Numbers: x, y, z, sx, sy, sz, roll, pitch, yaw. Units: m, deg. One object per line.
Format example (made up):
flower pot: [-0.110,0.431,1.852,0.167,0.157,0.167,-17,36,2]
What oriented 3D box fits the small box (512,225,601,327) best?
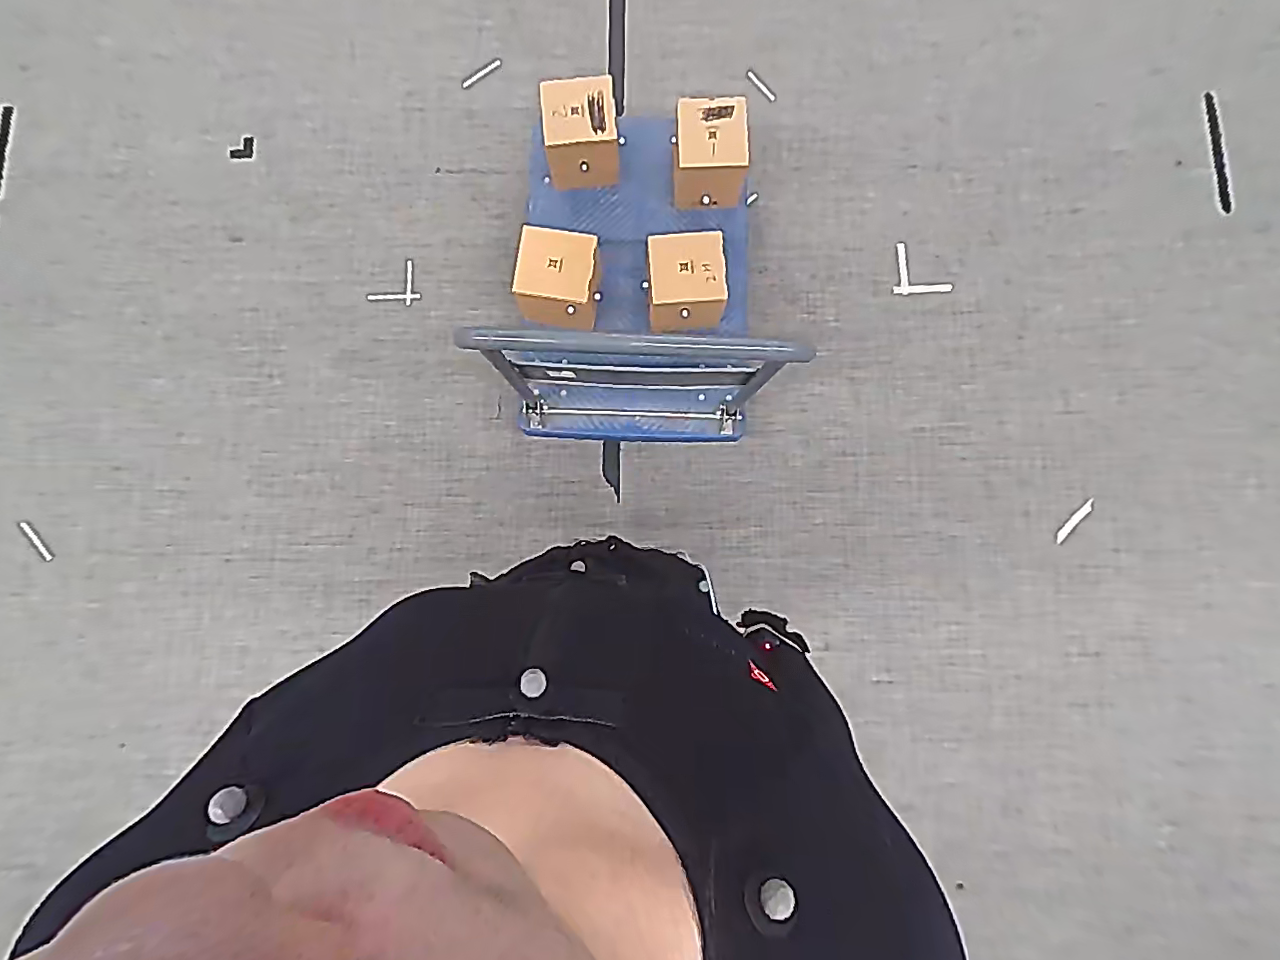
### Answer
small box: [-0.196,-0.486,1.311,0.179,0.176,0.168,8,84,-1]

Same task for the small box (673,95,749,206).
small box: [0.170,-0.812,1.343,0.168,0.176,0.179,-1,85,0]

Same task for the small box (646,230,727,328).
small box: [0.108,-0.479,1.311,0.179,0.176,0.168,-4,85,0]
